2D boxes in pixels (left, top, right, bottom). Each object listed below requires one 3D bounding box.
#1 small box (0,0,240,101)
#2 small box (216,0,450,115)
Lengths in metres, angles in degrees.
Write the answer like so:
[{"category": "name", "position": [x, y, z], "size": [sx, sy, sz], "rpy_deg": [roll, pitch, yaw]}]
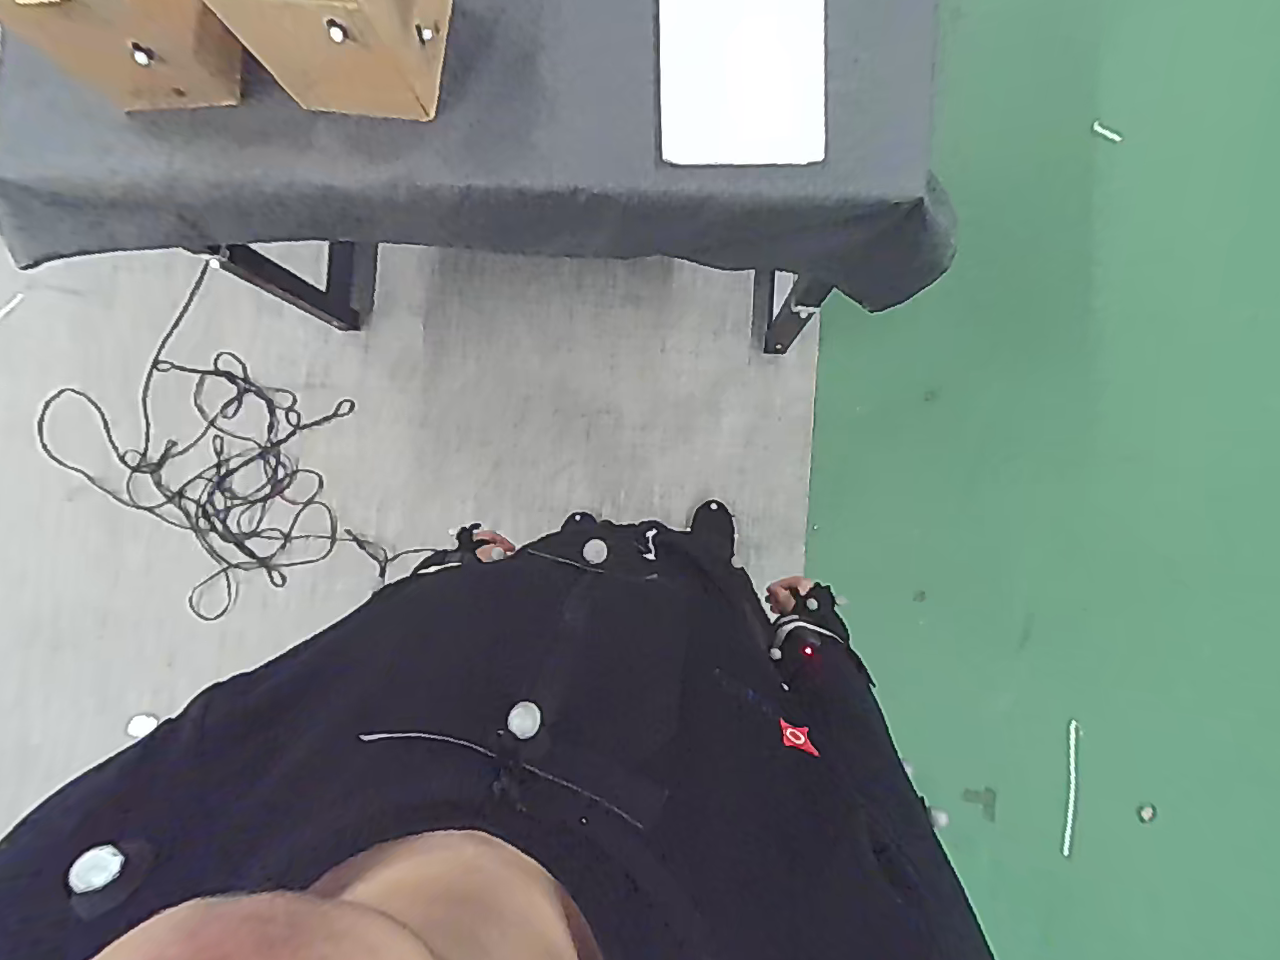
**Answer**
[{"category": "small box", "position": [-0.599, -0.571, 0.621], "size": [0.168, 0.176, 0.179], "rpy_deg": [-2, 86, 2]}, {"category": "small box", "position": [-0.340, -0.548, 0.607], "size": [0.179, 0.176, 0.168], "rpy_deg": [7, 87, 3]}]
